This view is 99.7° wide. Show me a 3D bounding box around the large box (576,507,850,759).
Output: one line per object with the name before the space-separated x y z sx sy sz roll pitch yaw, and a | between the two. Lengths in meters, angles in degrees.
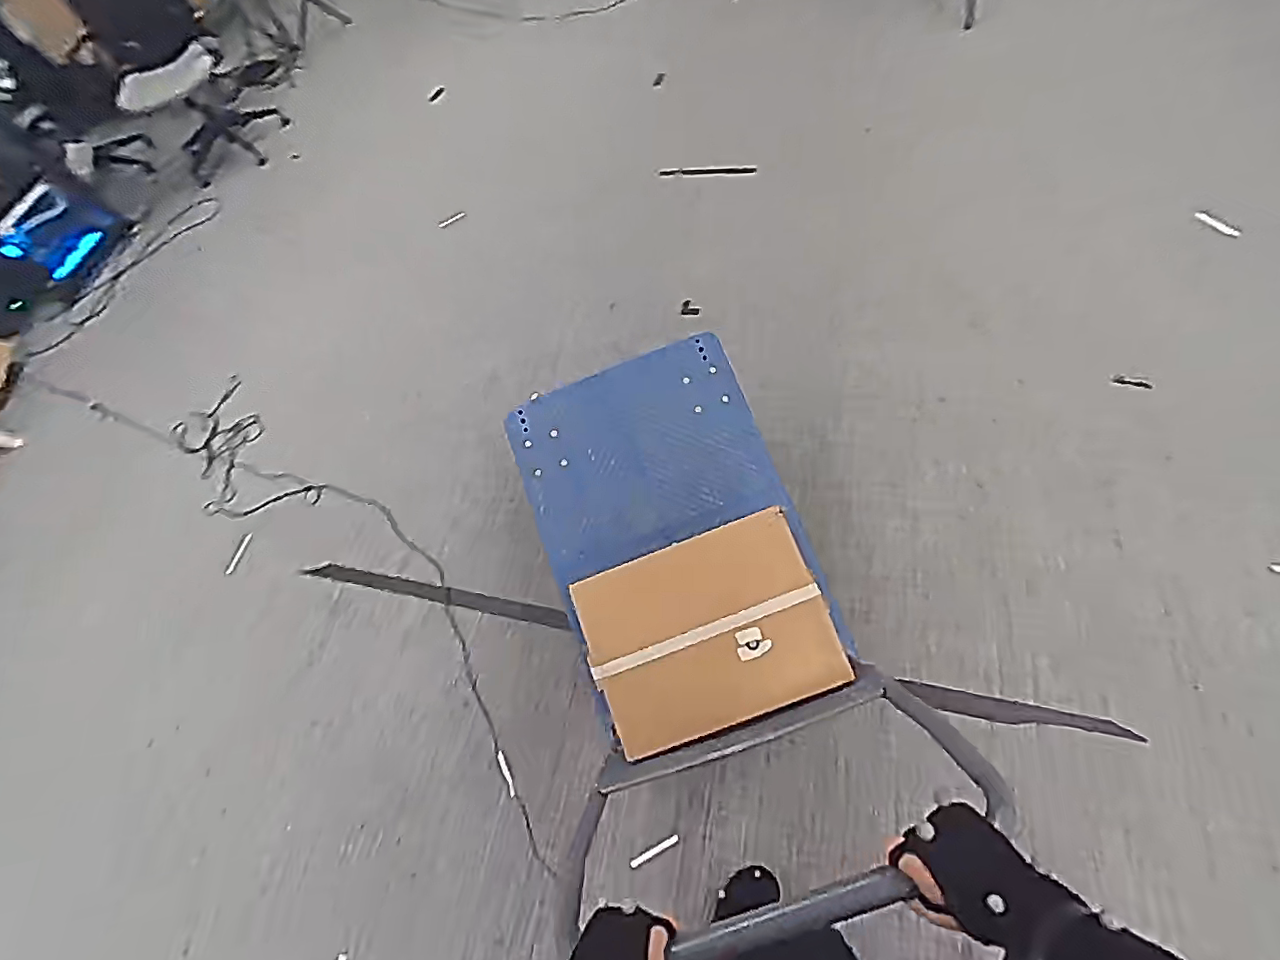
large box | 0.133 0.291 1.088 0.408 0.320 0.320 -23 78 1
